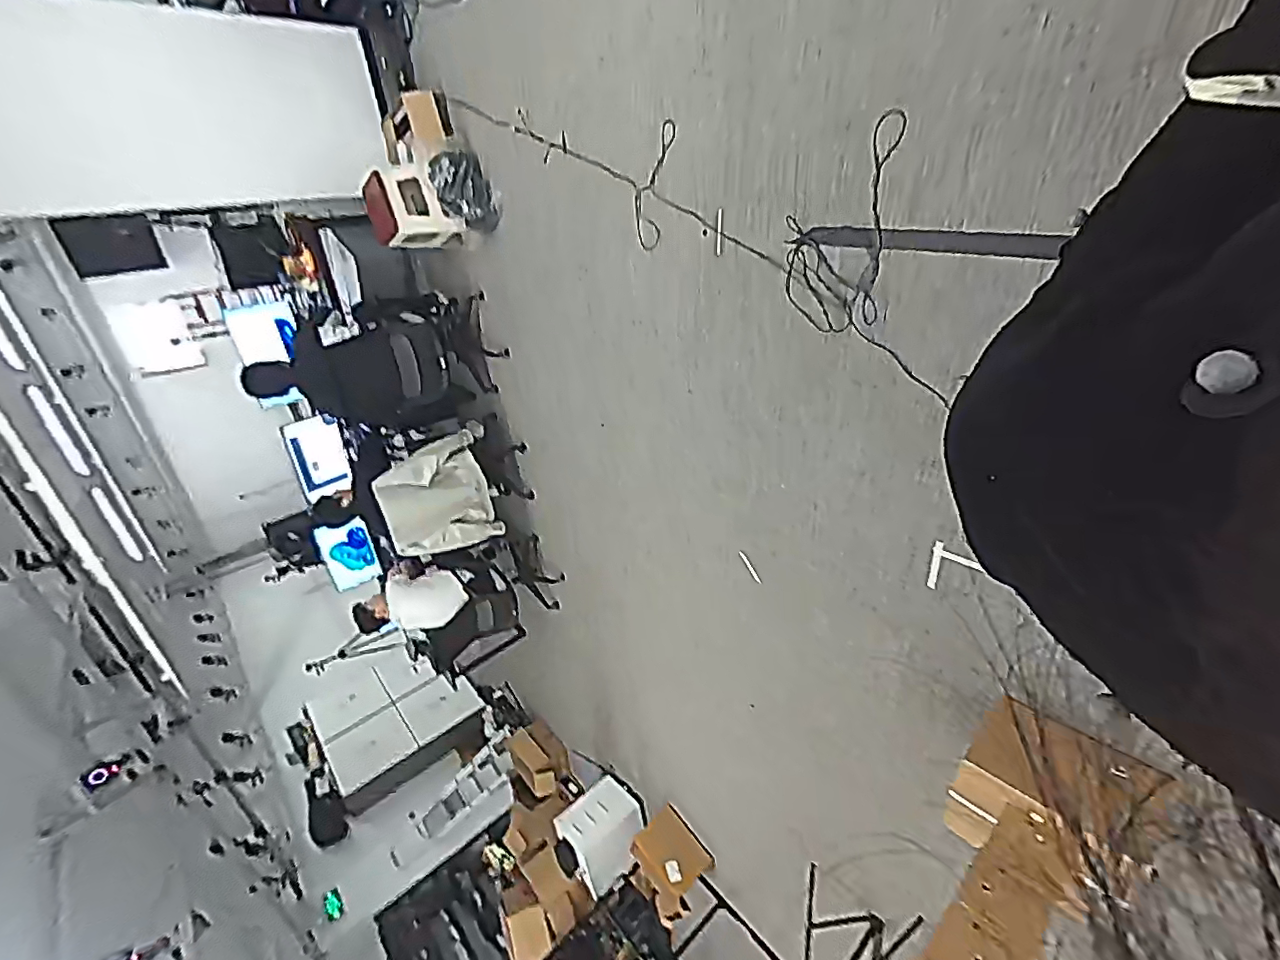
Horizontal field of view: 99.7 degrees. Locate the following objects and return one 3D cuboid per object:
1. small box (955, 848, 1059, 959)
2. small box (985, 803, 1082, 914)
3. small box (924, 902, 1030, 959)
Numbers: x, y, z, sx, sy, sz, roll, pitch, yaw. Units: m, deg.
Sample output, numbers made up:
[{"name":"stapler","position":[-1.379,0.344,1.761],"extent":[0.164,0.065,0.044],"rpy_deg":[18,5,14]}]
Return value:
[{"name":"small box","position":[0.853,1.024,1.271],"extent":[0.168,0.176,0.179],"rpy_deg":[23,129,45]},{"name":"small box","position":[0.977,0.972,1.362],"extent":[0.168,0.176,0.179],"rpy_deg":[23,128,43]},{"name":"small box","position":[0.733,1.087,1.177],"extent":[0.168,0.176,0.179],"rpy_deg":[18,124,48]}]
